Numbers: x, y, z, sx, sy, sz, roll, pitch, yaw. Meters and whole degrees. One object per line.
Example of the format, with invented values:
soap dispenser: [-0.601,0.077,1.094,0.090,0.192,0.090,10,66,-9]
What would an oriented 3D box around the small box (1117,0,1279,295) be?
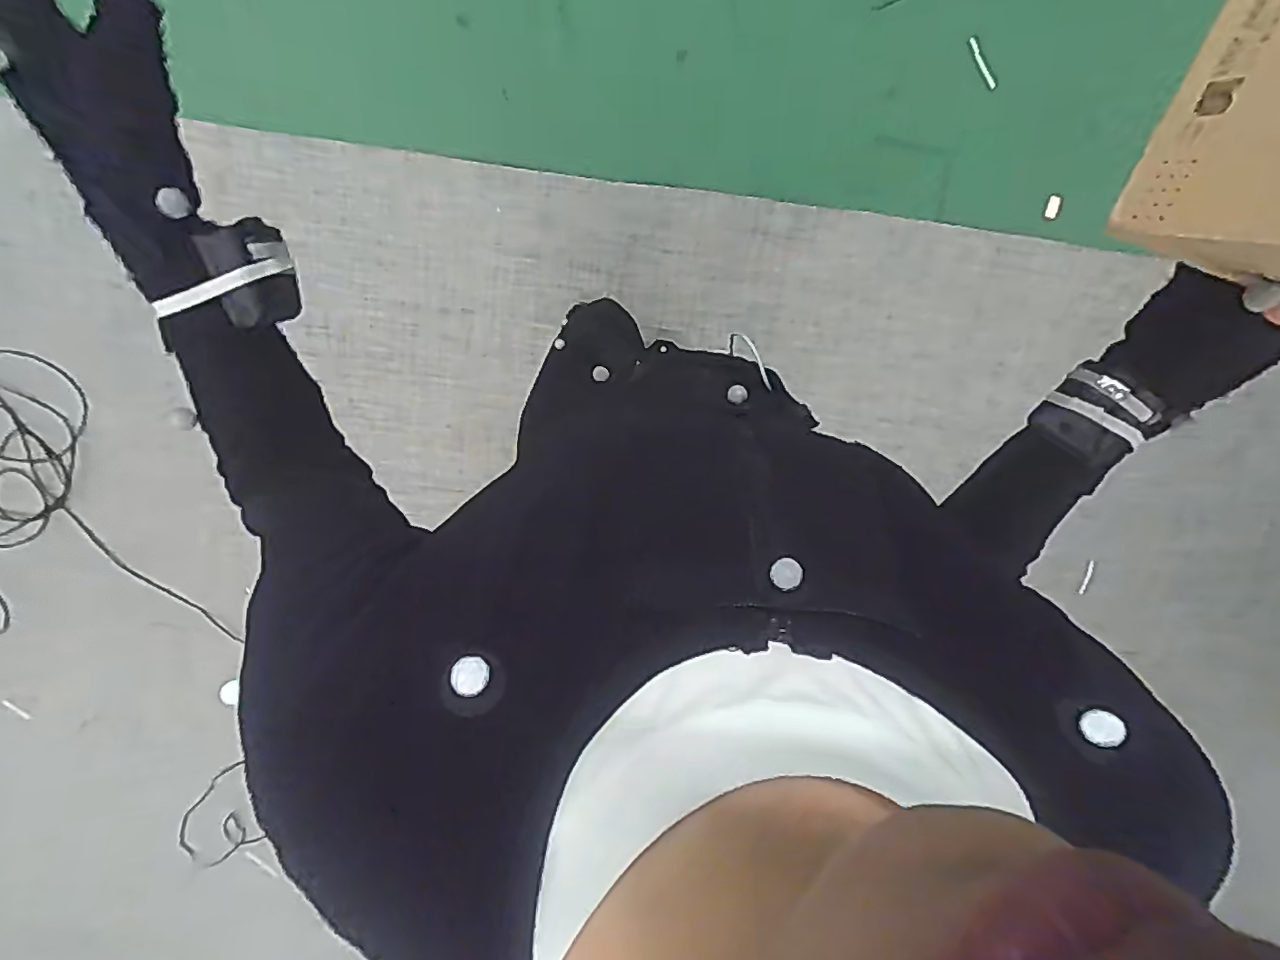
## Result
small box: [0.372,-0.161,0.222,0.179,0.176,0.168,6,116,-20]
